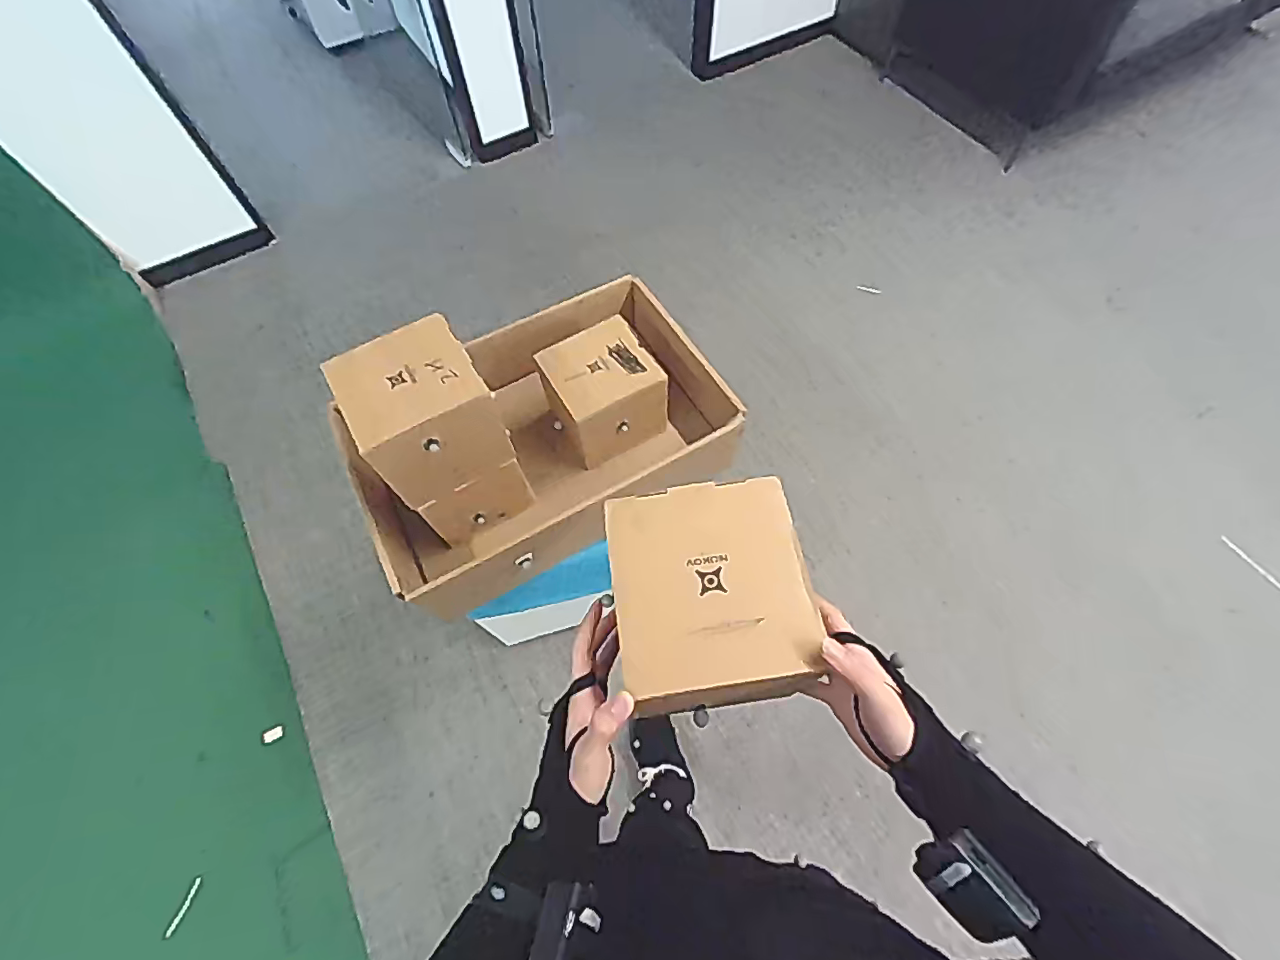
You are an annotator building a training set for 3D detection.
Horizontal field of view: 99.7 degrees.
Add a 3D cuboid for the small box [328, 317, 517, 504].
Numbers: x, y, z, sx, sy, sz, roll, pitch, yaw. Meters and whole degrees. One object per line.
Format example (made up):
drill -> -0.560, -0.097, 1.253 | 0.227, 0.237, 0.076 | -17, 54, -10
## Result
small box -> -0.302, -0.092, 0.779 | 0.179, 0.176, 0.168 | -29, 66, -14
